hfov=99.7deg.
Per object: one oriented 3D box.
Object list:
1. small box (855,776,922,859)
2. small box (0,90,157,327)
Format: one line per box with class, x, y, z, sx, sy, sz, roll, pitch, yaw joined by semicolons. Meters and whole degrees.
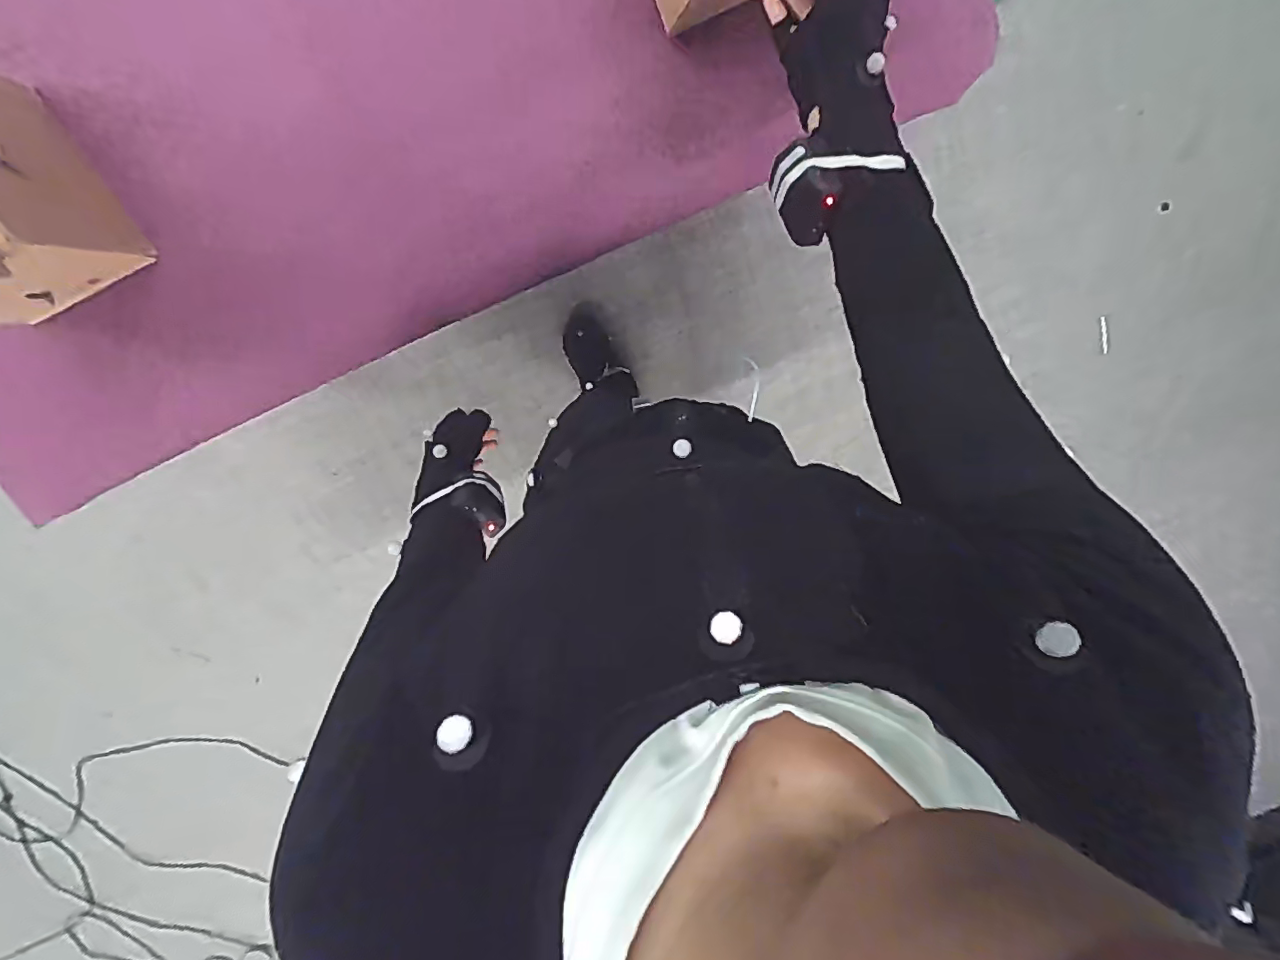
small box;0.921;1.238;1.993;0.168;0.176;0.179;-21;111;0
small box;-0.625;-0.250;0.497;0.168;0.176;0.179;-26;111;3
